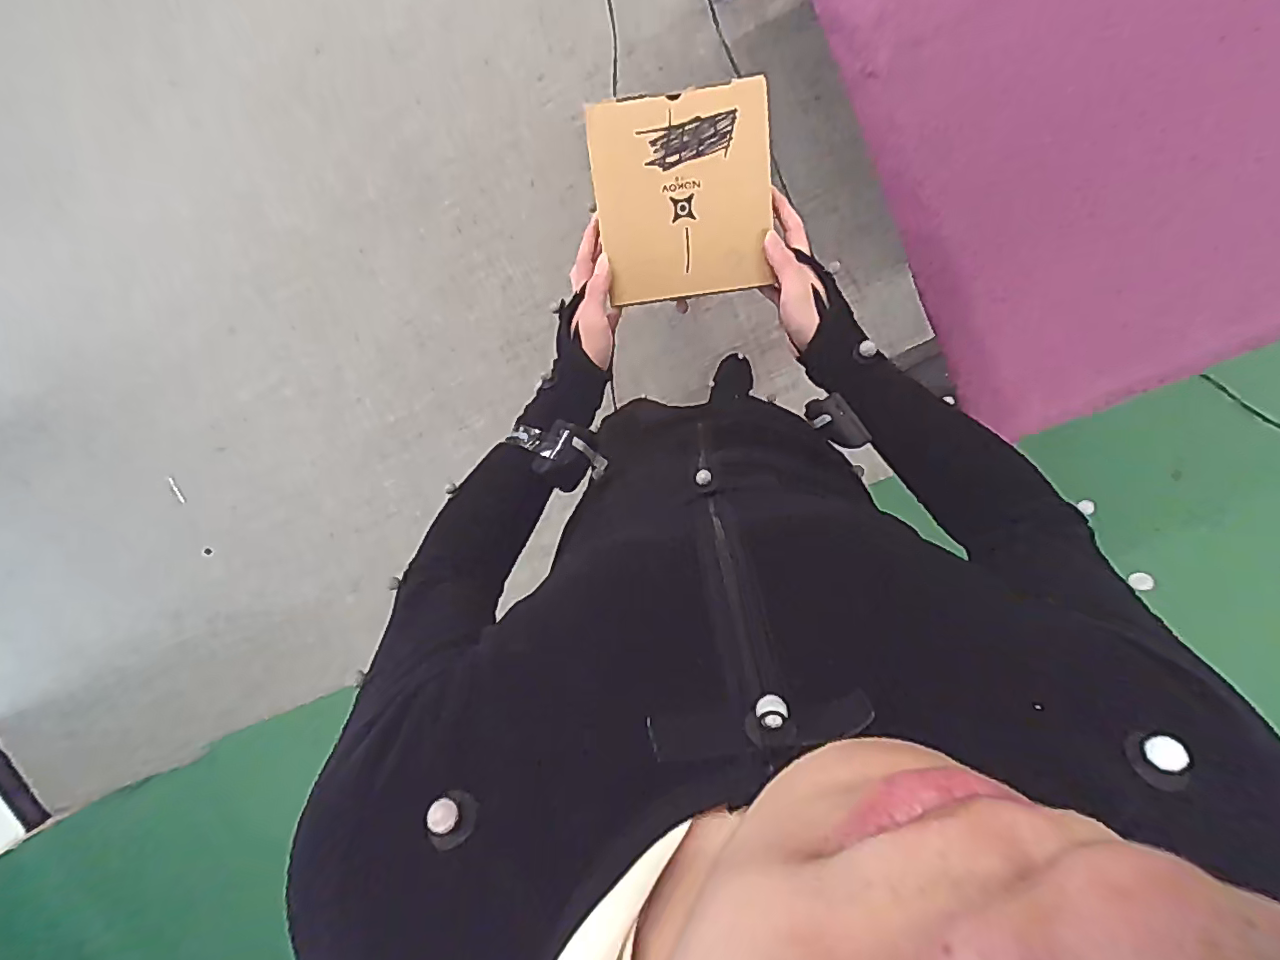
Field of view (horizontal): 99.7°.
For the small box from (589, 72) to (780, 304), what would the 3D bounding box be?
[{"bbox_3d":[0.047,-0.288,0.576,0.168,0.176,0.179,-6,108,5],"label":"small box"}]
